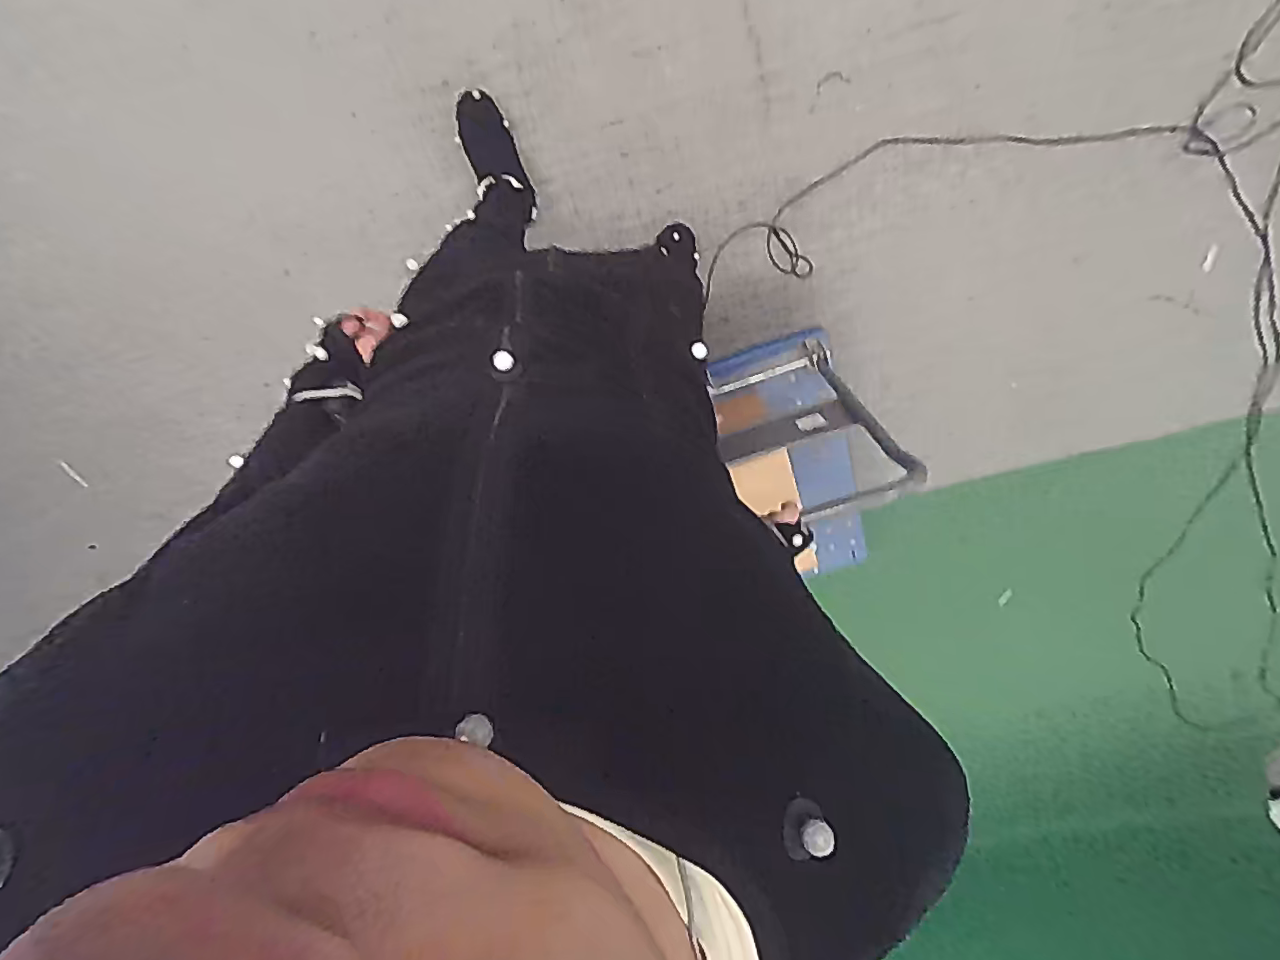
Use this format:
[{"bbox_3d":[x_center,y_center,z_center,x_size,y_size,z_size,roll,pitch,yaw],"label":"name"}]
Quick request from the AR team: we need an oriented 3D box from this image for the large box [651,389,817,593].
[{"bbox_3d":[0.249,0.029,1.474,0.320,0.320,0.408,-19,124,10],"label":"large box"}]
